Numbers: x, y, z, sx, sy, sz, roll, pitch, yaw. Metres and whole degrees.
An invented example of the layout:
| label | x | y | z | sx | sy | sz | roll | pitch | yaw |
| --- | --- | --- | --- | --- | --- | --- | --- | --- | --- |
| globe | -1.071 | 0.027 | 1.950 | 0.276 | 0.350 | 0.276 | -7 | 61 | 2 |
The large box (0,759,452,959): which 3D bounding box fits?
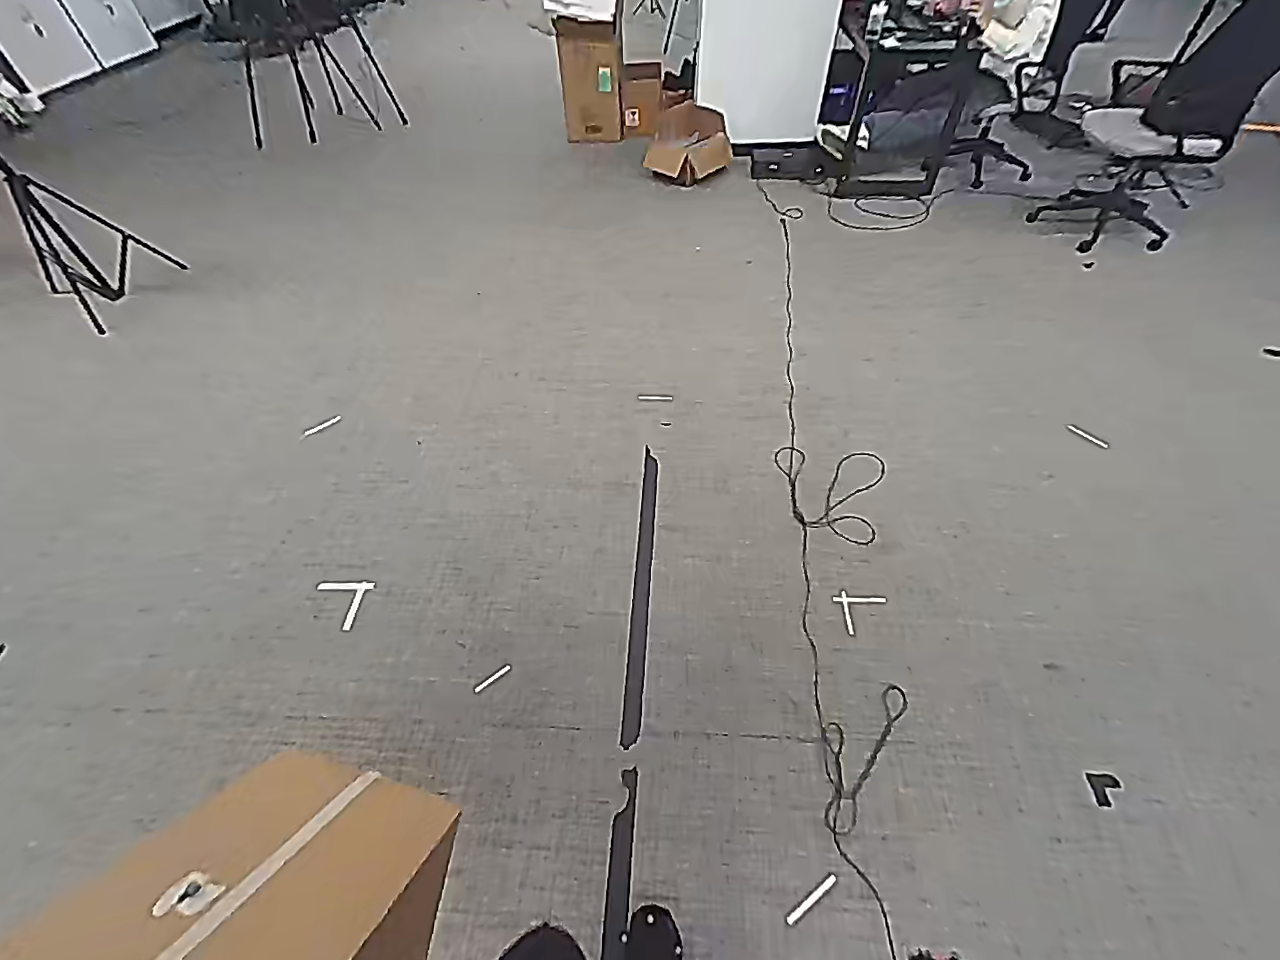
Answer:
| label | x | y | z | sx | sy | sz | roll | pitch | yaw |
| --- | --- | --- | --- | --- | --- | --- | --- | --- | --- |
| large box | -0.499 | 0.648 | 0.688 | 0.320 | 0.408 | 0.320 | 13 | 93 | 8 |
